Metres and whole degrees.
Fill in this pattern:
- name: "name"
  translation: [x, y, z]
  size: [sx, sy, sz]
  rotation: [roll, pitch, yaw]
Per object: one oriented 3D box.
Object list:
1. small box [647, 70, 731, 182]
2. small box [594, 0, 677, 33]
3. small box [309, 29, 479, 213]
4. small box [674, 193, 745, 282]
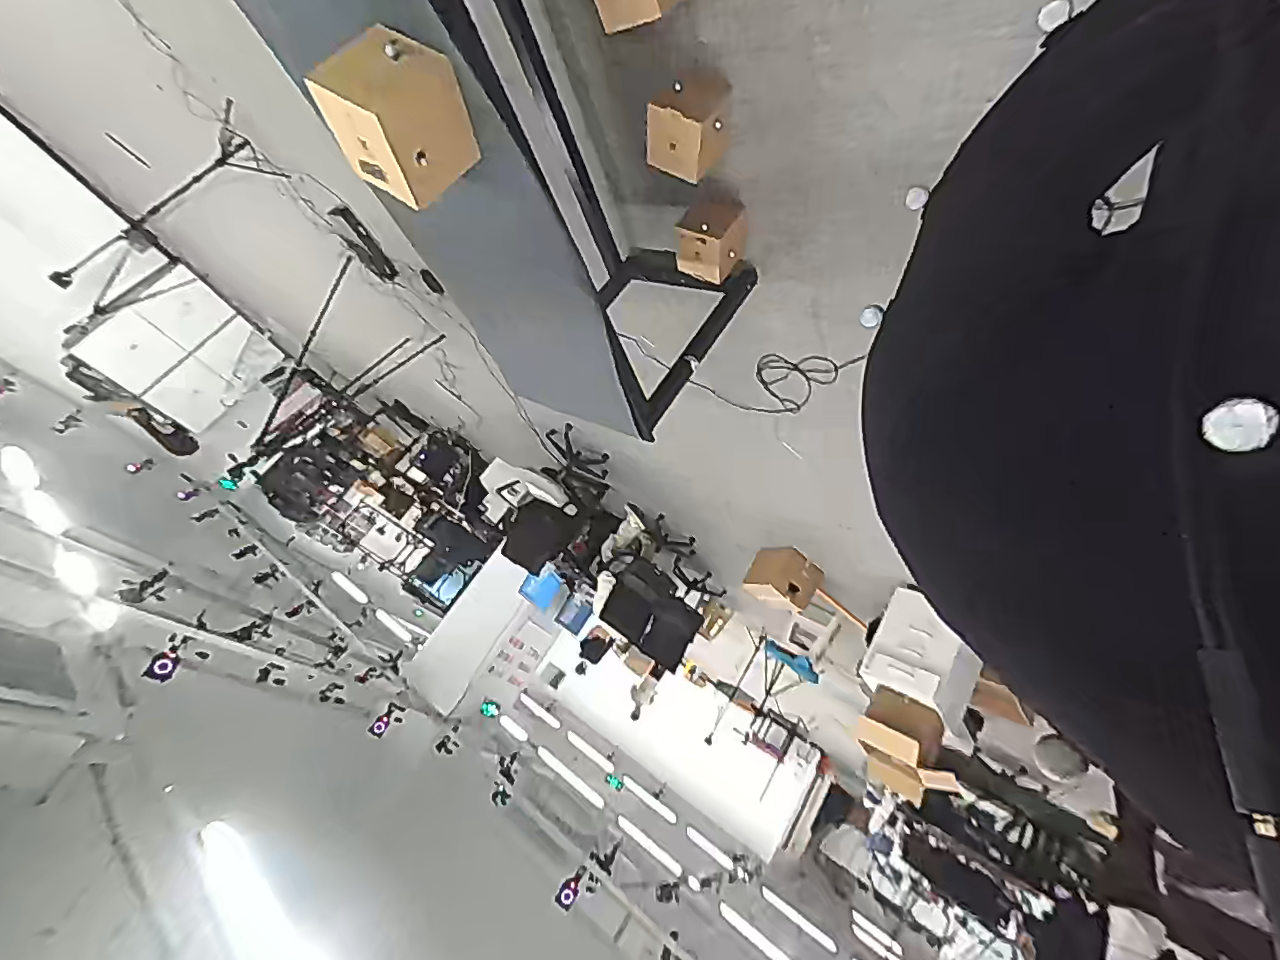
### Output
- name: "small box"
  translation: [0.133, -0.965, 1.471]
  size: [0.168, 0.176, 0.179]
  rotation: [31, 162, 13]
- name: "small box"
  translation: [-0.004, -1.160, 1.215]
  size: [0.179, 0.176, 0.168]
  rotation: [20, 156, 36]
- name: "small box"
  translation: [-0.408, -0.615, 0.933]
  size: [0.168, 0.176, 0.179]
  rotation: [32, 163, 13]
- name: "small box"
  translation: [0.229, -0.786, 1.752]
  size: [0.168, 0.176, 0.179]
  rotation: [27, 161, 20]
